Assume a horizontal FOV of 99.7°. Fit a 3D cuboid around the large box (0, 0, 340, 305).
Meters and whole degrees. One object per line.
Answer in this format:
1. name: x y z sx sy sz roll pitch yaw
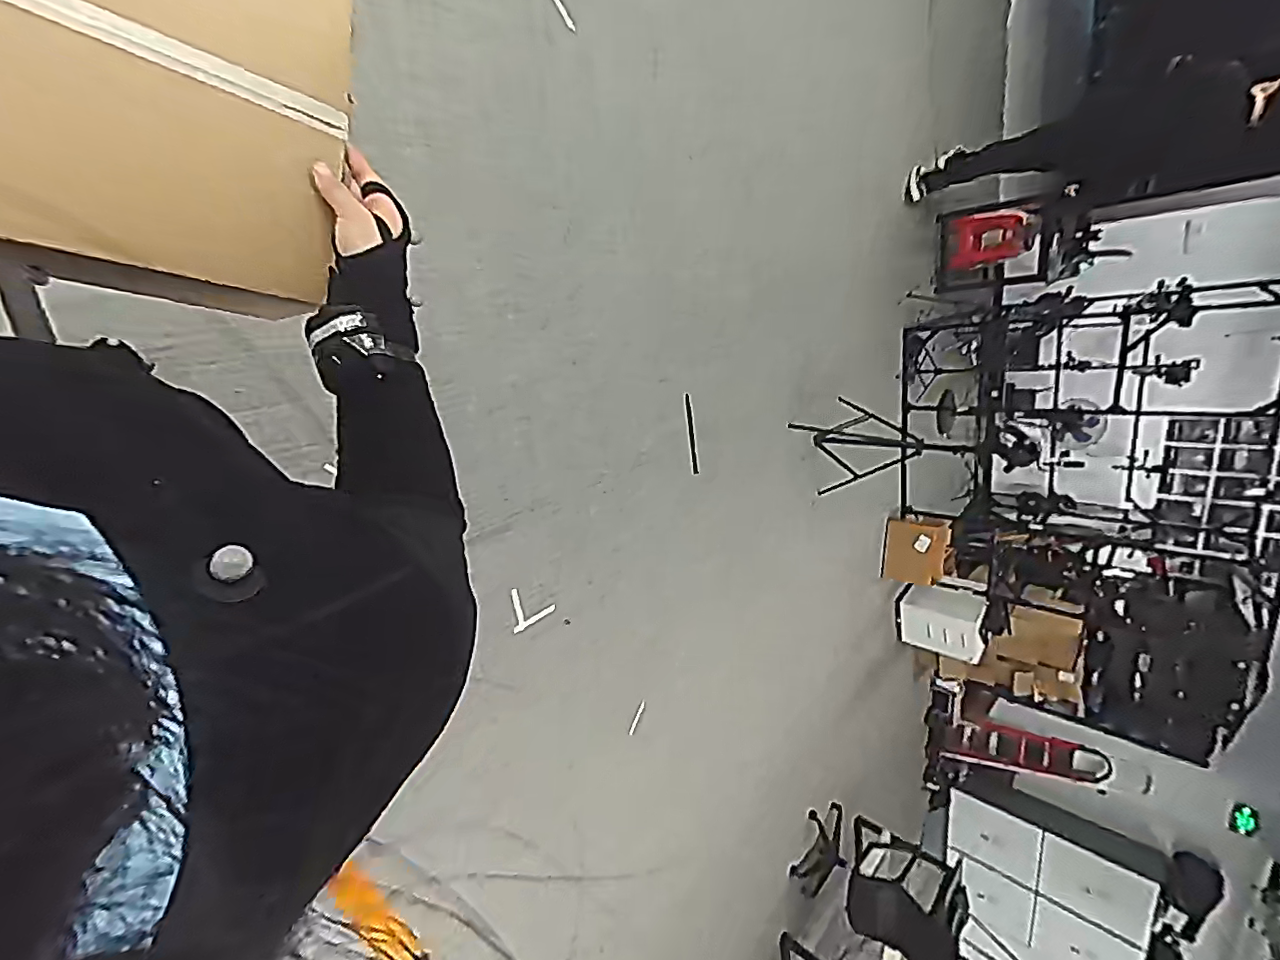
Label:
1. large box: -0.521 -0.352 0.468 0.408 0.320 0.320 1 99 -42
